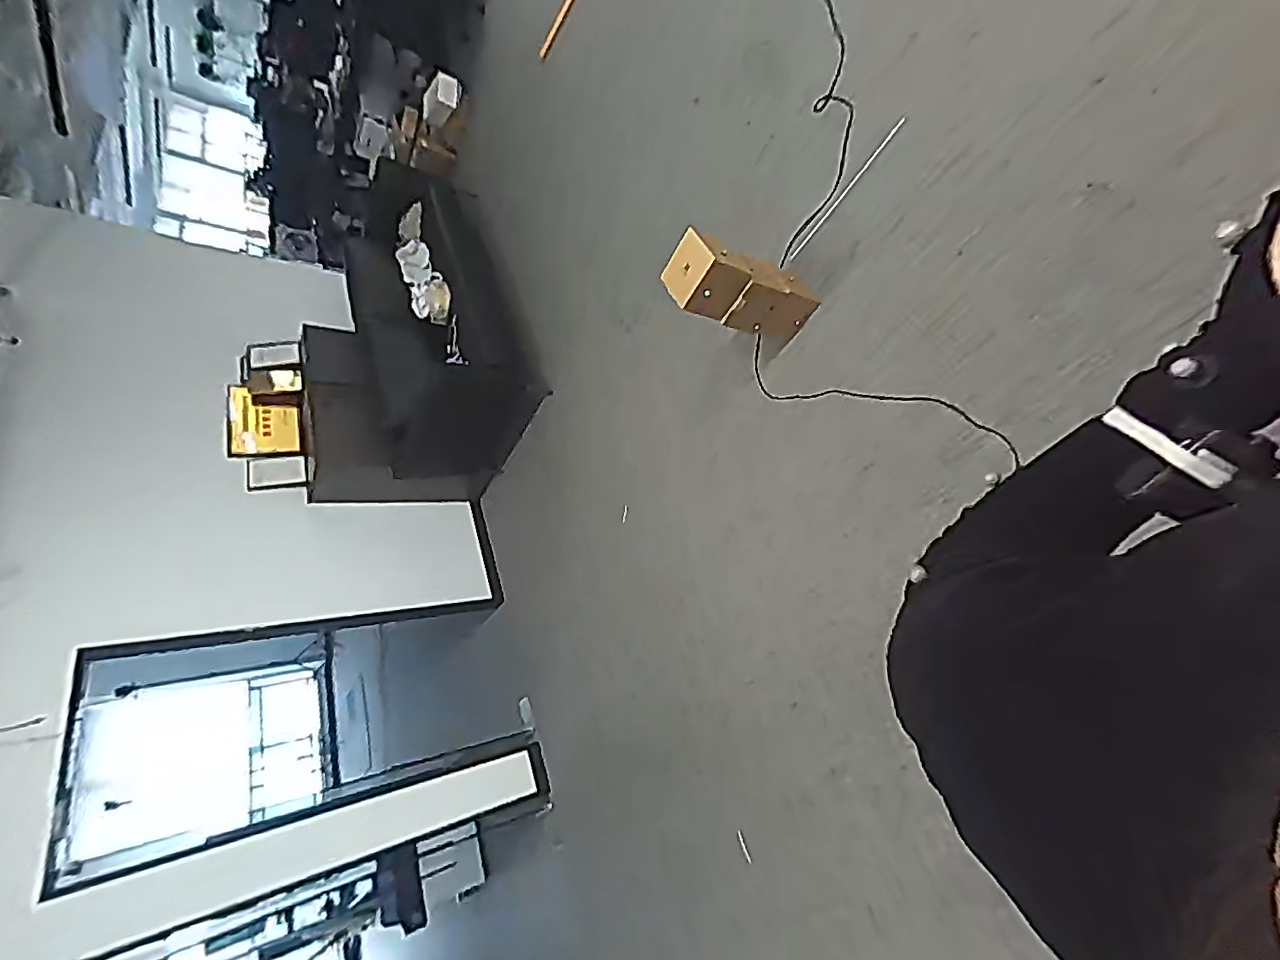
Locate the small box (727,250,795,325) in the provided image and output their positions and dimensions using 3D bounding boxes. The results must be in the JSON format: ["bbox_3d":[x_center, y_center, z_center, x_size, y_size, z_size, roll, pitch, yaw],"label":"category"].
[{"bbox_3d":[0.361,-0.616,1.732,0.168,0.176,0.179,-52,49,38],"label":"small box"}]

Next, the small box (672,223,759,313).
[{"bbox_3d":[0.234,-0.632,1.629,0.179,0.176,0.168,-53,49,39],"label":"small box"}]
